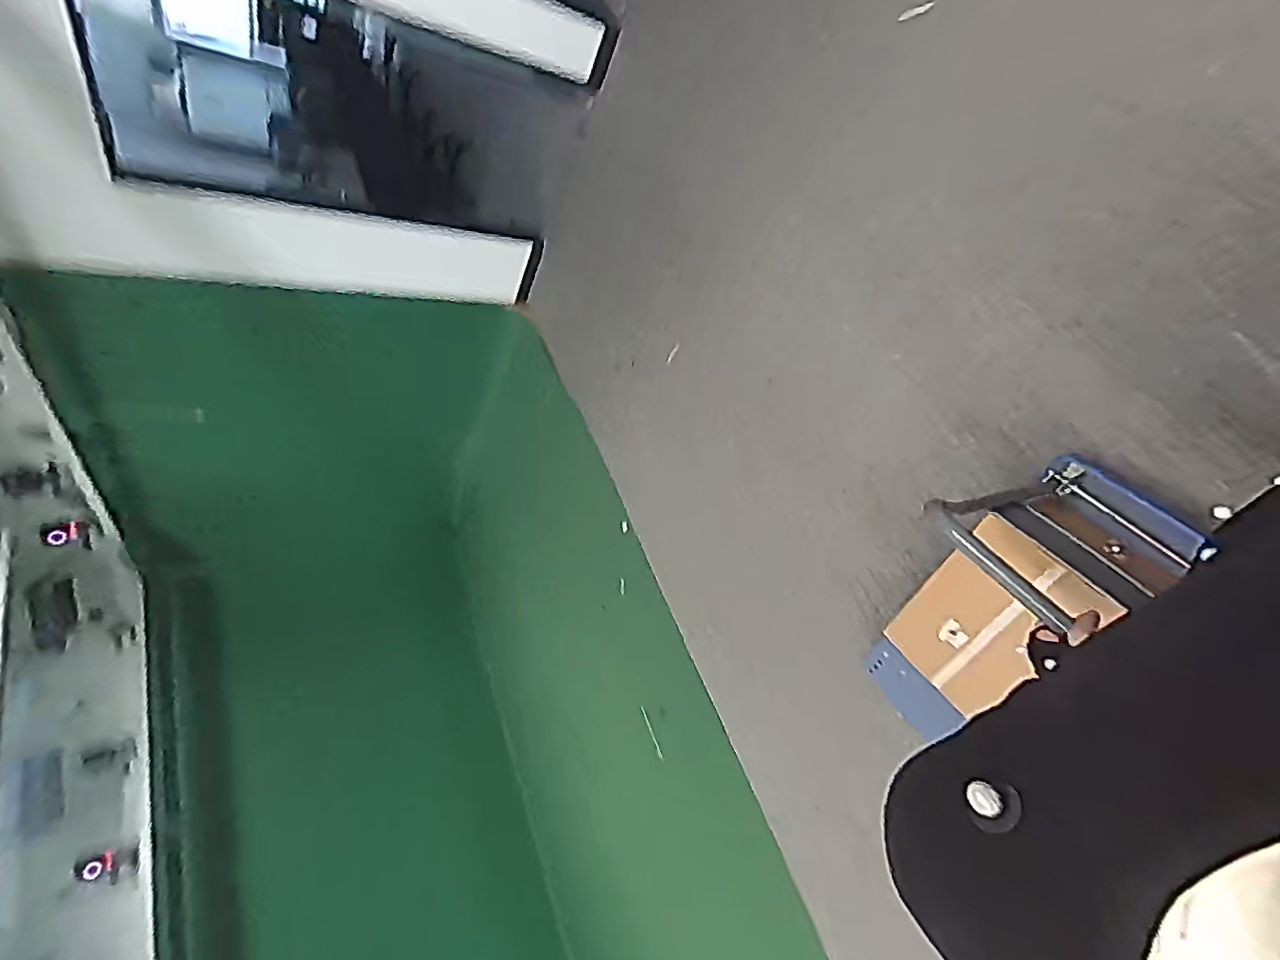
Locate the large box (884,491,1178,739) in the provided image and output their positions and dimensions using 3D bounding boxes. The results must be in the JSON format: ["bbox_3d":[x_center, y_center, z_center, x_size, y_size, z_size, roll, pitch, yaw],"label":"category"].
[{"bbox_3d":[0.850,0.284,1.209,0.320,0.320,0.408,52,135,36],"label":"large box"}]
